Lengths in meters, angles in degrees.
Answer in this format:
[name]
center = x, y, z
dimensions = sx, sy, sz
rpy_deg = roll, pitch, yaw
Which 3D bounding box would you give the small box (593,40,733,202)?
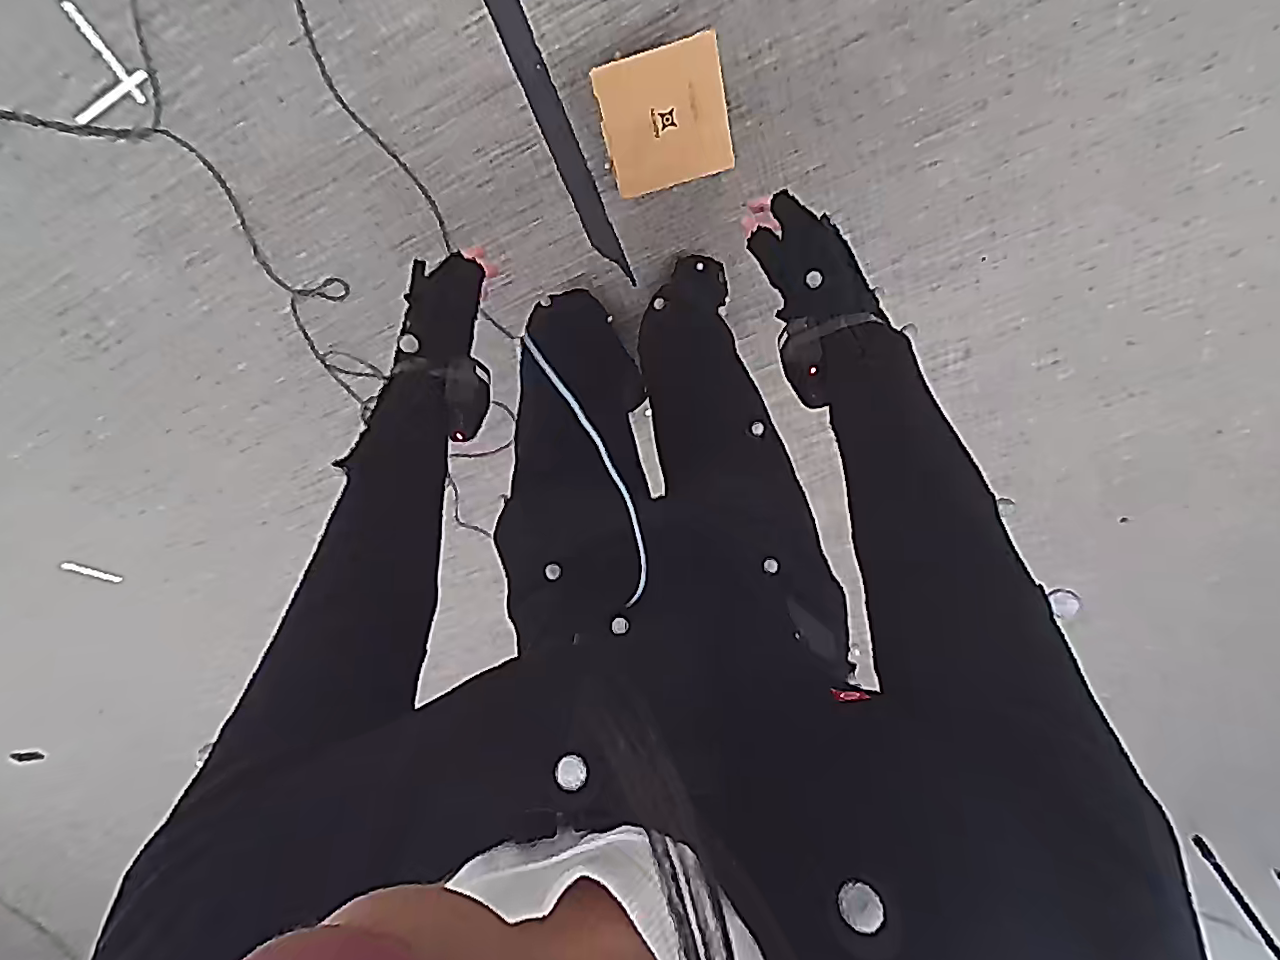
[small box]
center = 0.037, -0.551, 0.845
dimensions = 0.179, 0.176, 0.168
rpy_deg = -13, 123, 7
